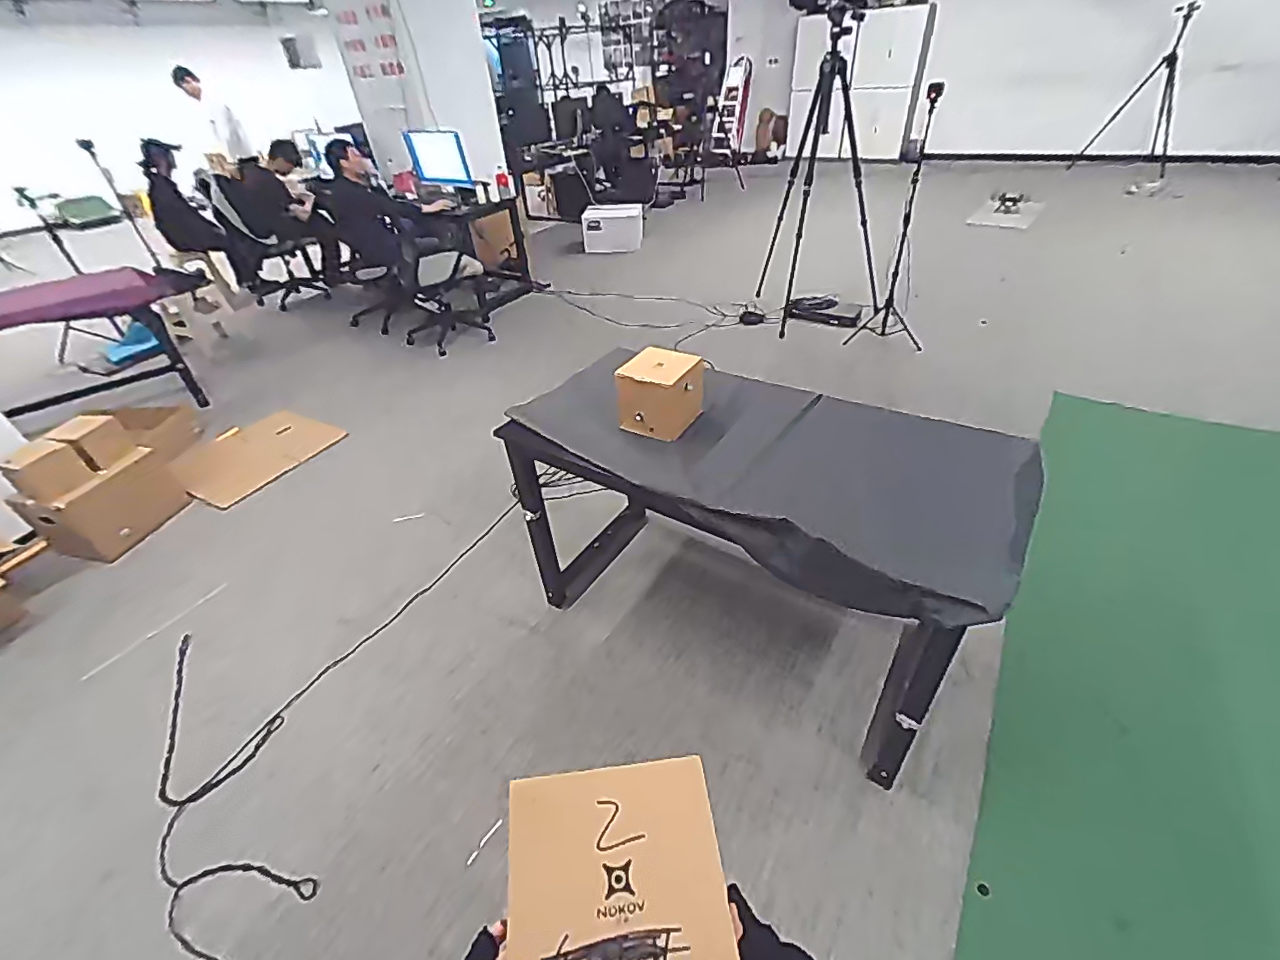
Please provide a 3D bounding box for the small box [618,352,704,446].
[{"bbox_3d":[0.057,-0.218,1.442,0.168,0.176,0.179,19,44,26],"label":"small box"}]
